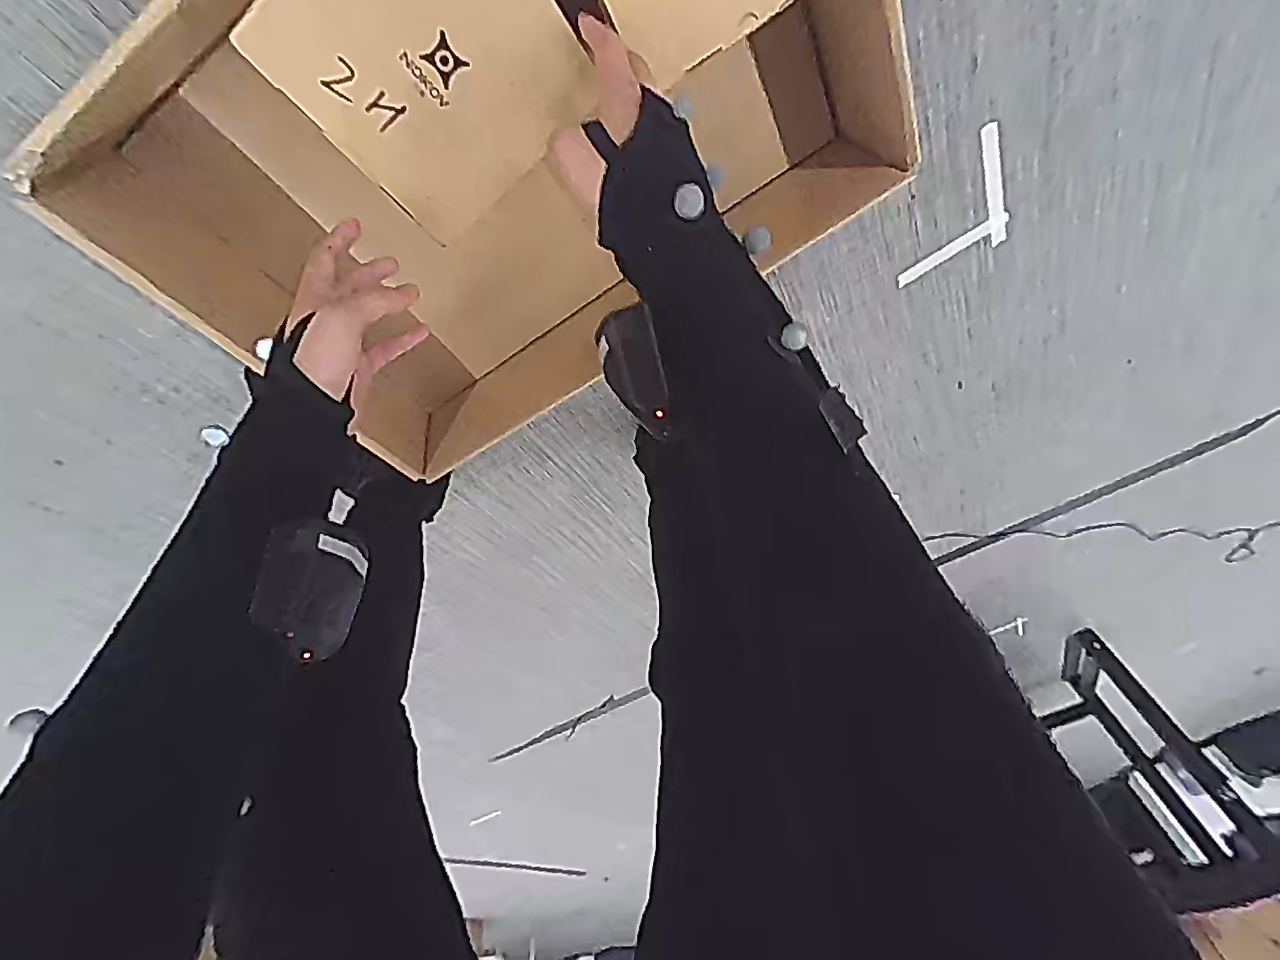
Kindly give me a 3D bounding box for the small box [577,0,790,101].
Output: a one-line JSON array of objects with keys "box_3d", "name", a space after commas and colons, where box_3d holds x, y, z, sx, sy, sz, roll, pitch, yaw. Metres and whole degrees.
[{"box_3d": [0.015, -0.416, 0.373, 0.168, 0.176, 0.179, -28, 137, 14], "name": "small box"}]
